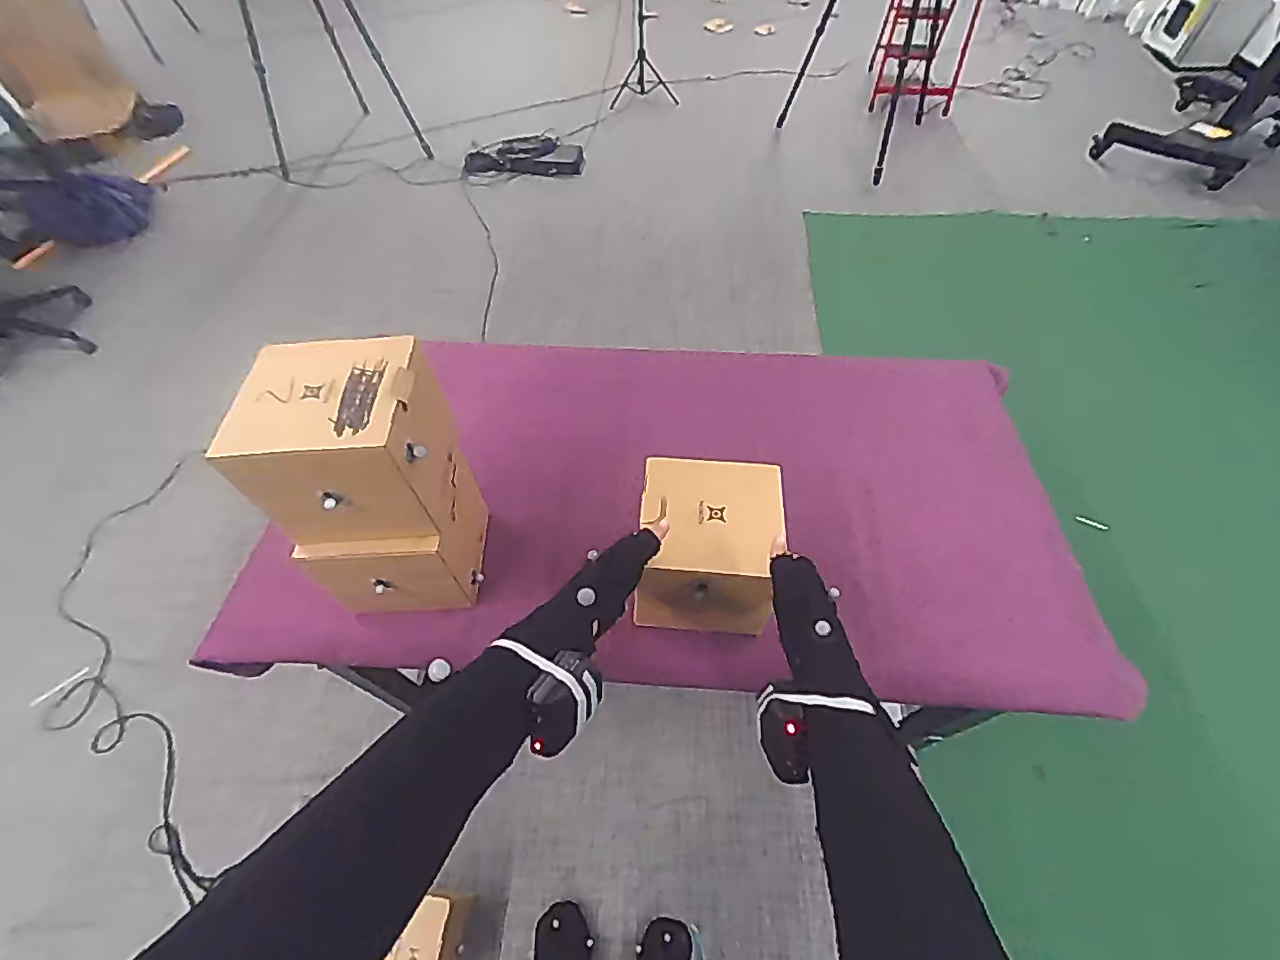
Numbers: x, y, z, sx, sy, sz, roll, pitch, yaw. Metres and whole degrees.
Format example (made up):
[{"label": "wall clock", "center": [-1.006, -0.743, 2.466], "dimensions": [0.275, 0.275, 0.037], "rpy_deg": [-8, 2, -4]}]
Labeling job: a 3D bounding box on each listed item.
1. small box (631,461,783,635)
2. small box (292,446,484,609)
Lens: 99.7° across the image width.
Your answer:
[{"label": "small box", "center": [0.084, 0.096, 0.727], "dimensions": [0.179, 0.176, 0.168], "rpy_deg": [5, 53, 3]}, {"label": "small box", "center": [-0.327, 0.070, 0.750], "dimensions": [0.179, 0.176, 0.168], "rpy_deg": [-2, 54, -1]}]
